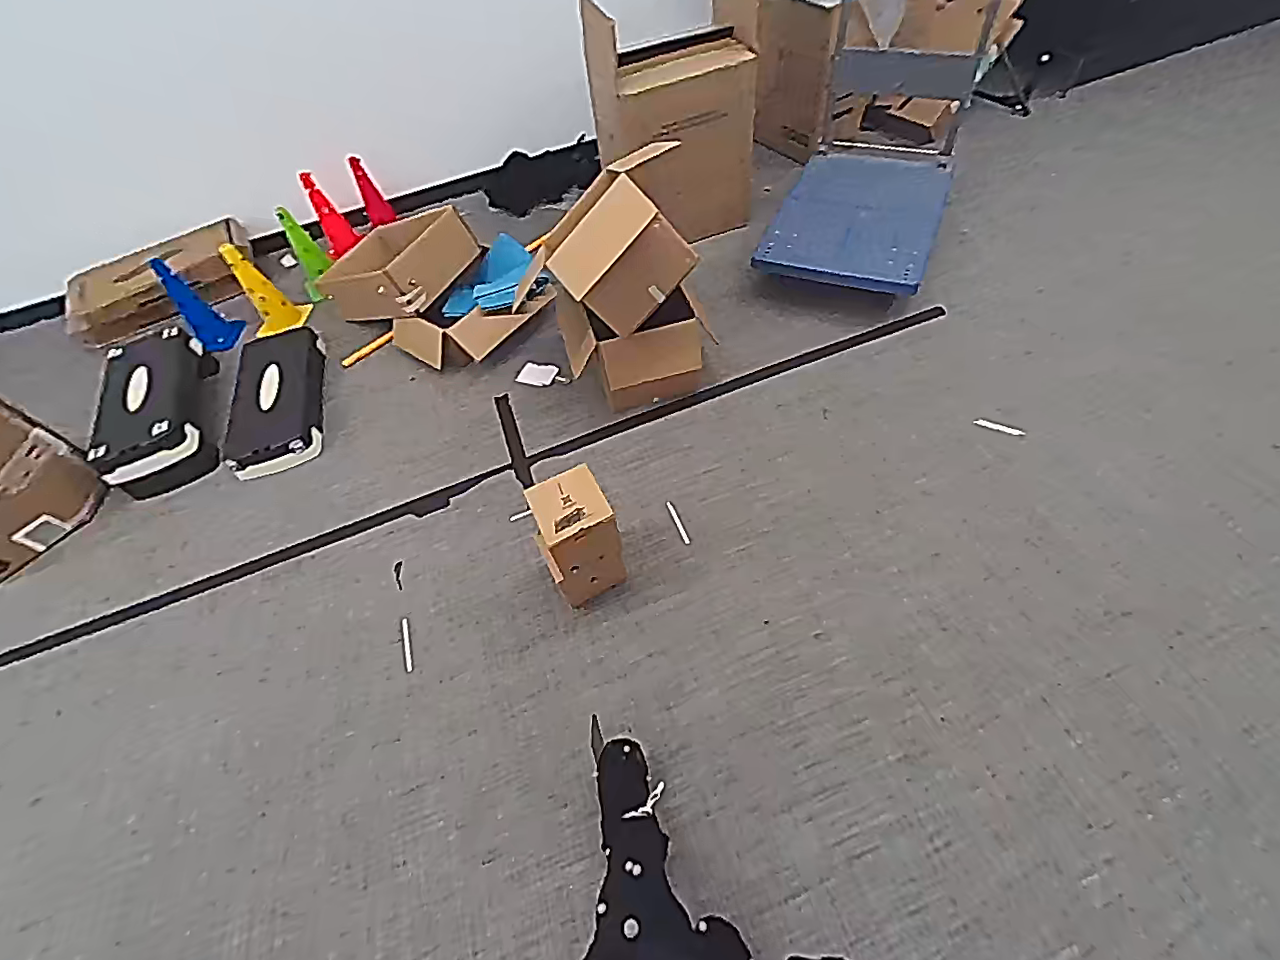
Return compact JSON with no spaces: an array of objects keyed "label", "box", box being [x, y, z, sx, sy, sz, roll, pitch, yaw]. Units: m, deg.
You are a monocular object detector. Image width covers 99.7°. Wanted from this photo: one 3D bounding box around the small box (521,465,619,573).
[{"label":"small box","box":[-0.163,0.103,1.307,0.168,0.176,0.179,-25,55,-11]}]
